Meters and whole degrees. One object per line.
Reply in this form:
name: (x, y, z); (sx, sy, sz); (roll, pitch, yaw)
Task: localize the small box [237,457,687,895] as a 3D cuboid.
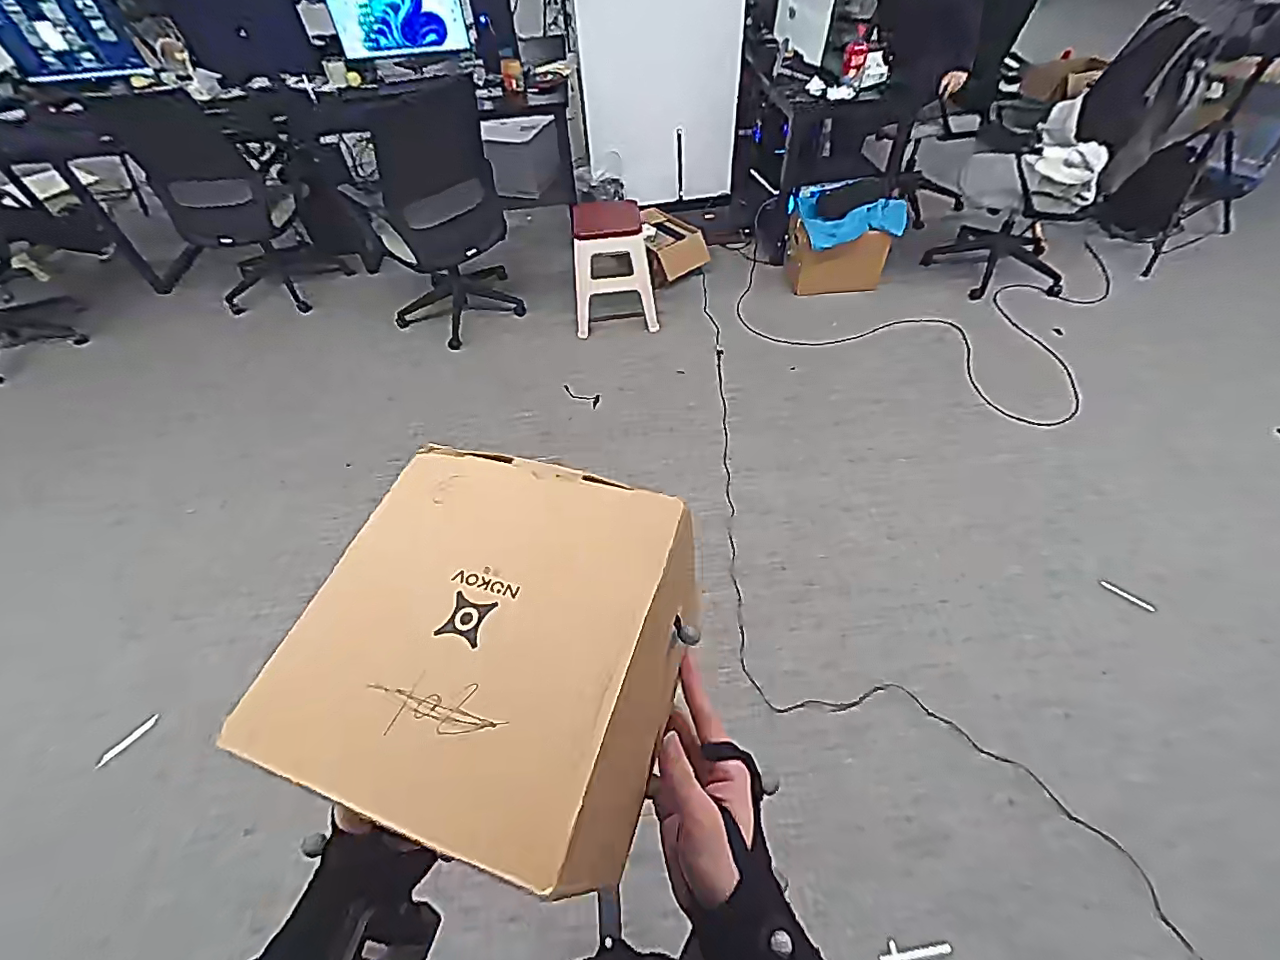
small box: (-0.071, 0.116, 0.329); (0.168, 0.176, 0.179); (11, 57, 15)
